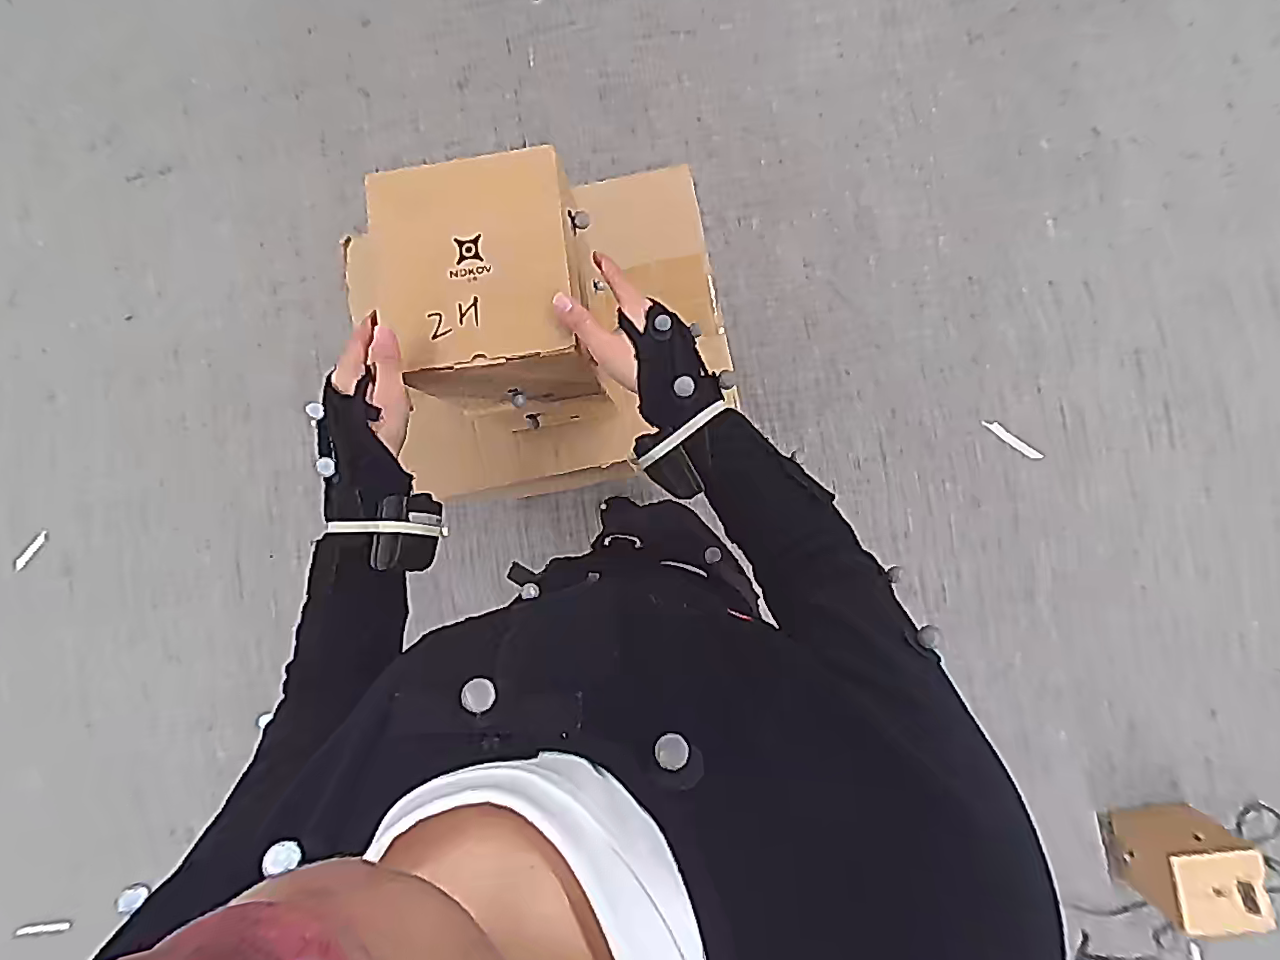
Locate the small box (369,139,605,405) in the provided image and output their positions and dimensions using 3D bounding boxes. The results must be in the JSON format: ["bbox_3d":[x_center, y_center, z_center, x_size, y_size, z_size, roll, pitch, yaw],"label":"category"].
[{"bbox_3d":[-0.130,-0.179,0.516,0.168,0.176,0.179,-6,88,4],"label":"small box"}]

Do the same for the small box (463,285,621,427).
[{"bbox_3d":[-0.122,-0.166,0.681,0.168,0.176,0.179,-9,87,3],"label":"small box"}]

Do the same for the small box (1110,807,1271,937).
[{"bbox_3d":[1.212,0.860,1.203,0.179,0.176,0.168,-10,88,4],"label":"small box"}]
